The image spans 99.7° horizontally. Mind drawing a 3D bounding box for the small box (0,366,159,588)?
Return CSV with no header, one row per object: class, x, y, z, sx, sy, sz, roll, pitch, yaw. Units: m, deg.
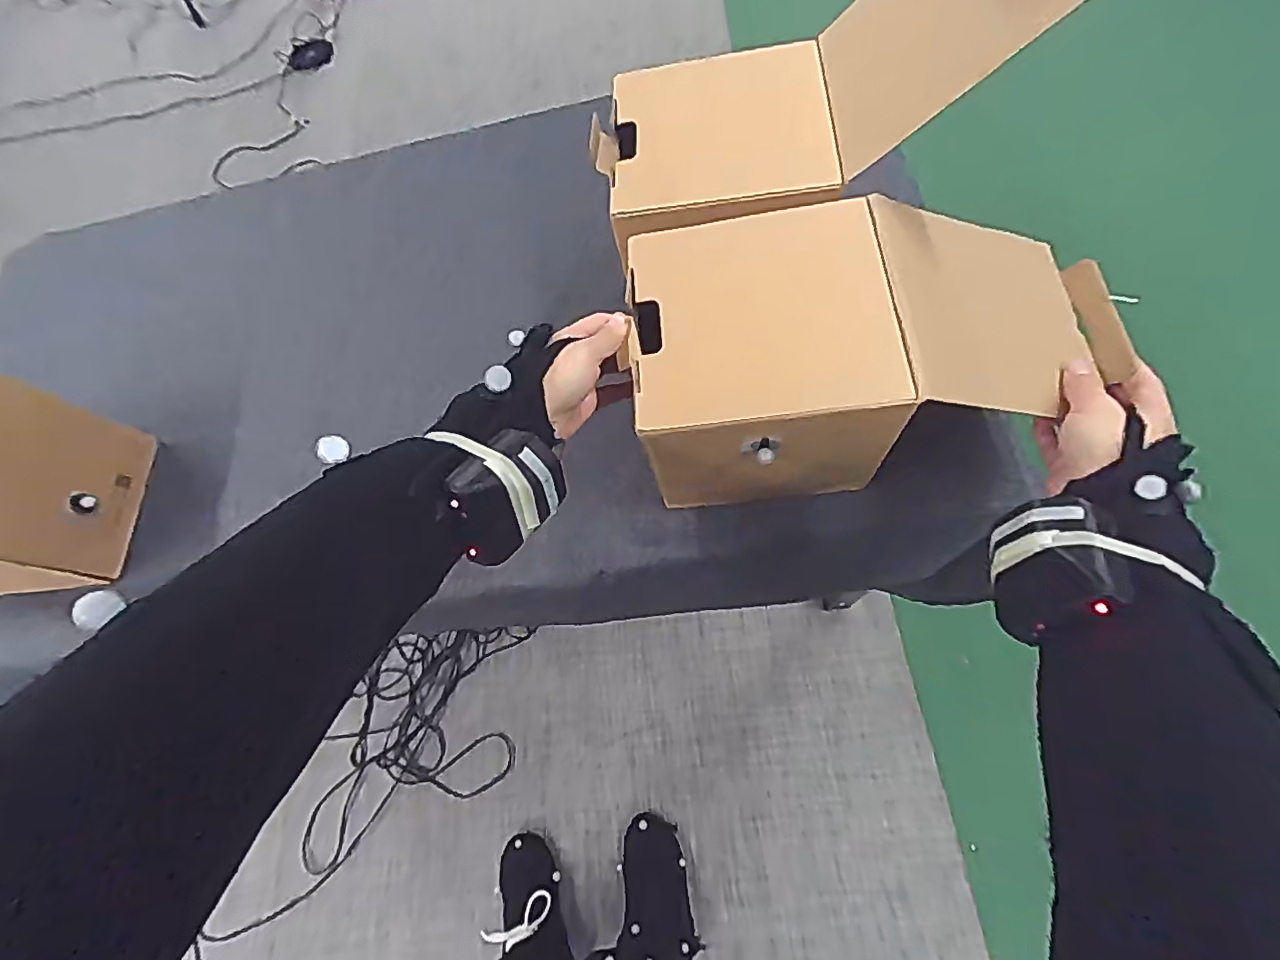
small box,-0.645,0.007,0.531,0.179,0.176,0.168,-7,68,7
